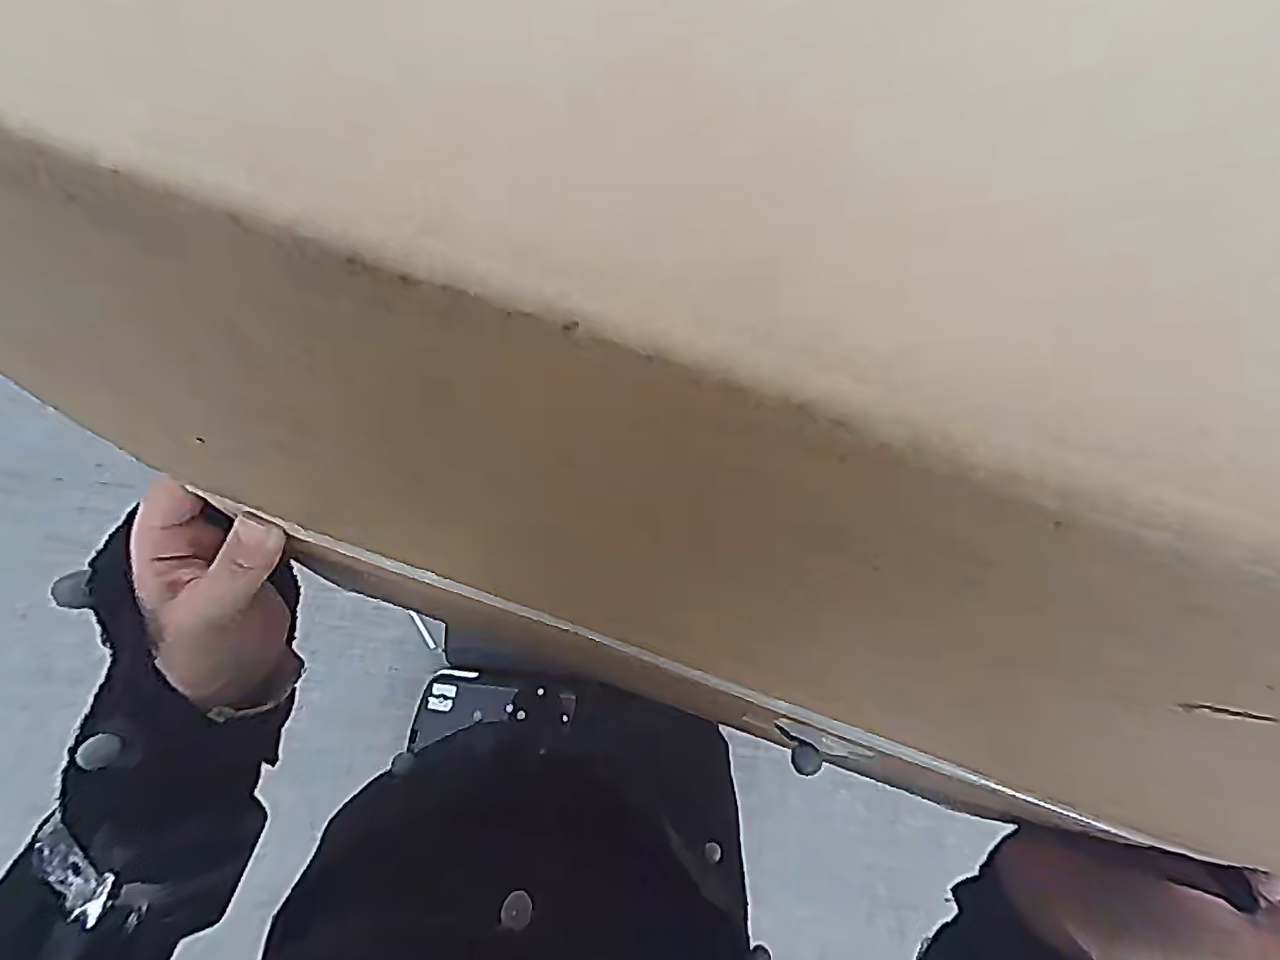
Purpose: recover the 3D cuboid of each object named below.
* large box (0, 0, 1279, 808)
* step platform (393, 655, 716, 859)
[{"bbox_3d":[0.080,-0.087,0.256,0.408,0.320,0.320,19,64,2],"label":"large box"},{"bbox_3d":[-0.175,0.605,1.213,0.684,0.204,0.286,13,75,-2],"label":"step platform"}]
